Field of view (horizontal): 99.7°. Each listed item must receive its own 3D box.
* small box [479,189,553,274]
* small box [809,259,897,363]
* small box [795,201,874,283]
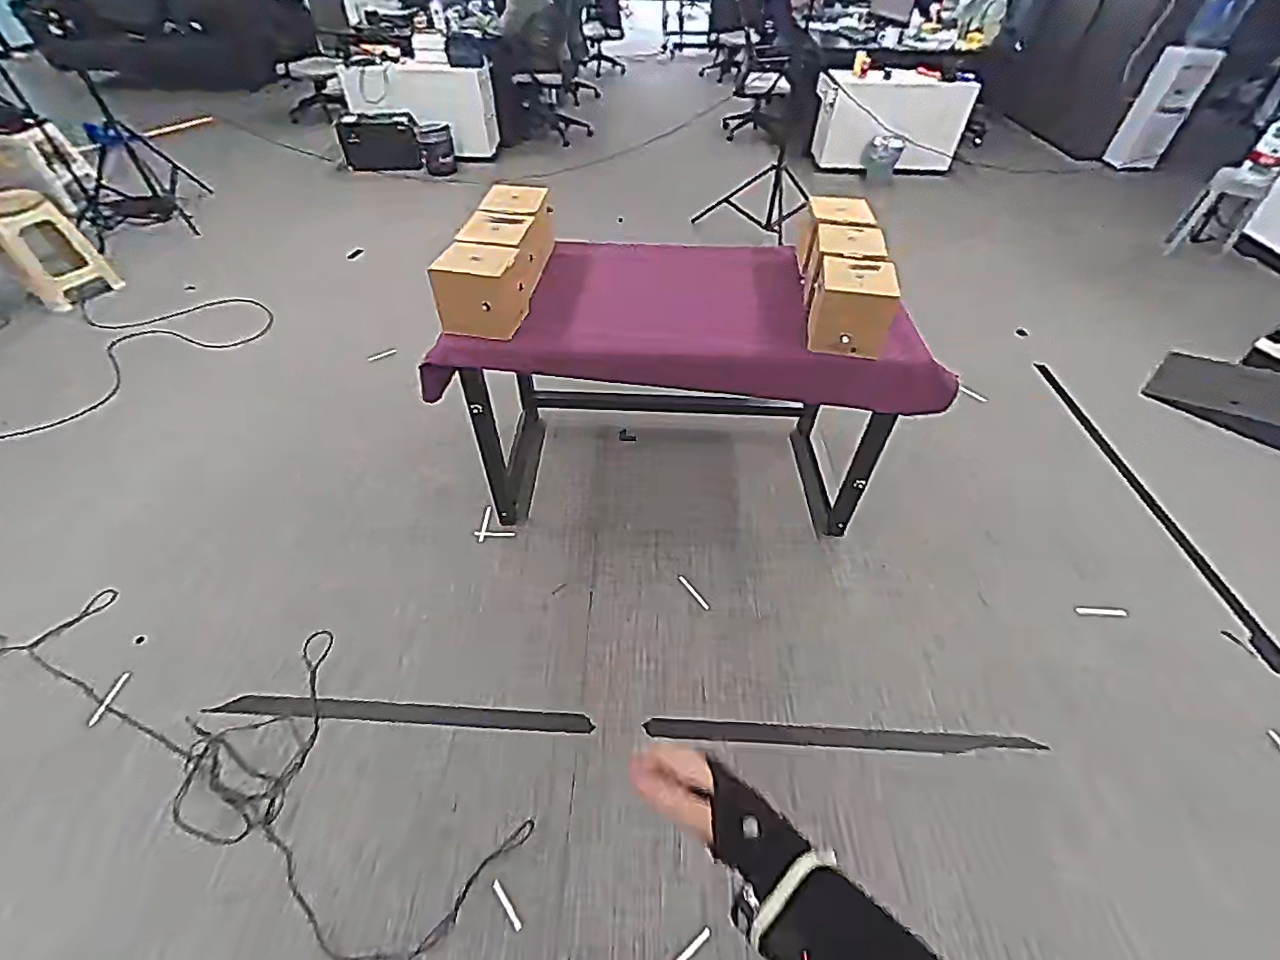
[{"bbox_3d":[-0.356,-0.734,1.596,0.168,0.176,0.179,5,48,3],"label":"small box"},{"bbox_3d":[0.515,-0.414,1.324,0.168,0.176,0.179,9,51,11],"label":"small box"},{"bbox_3d":[0.561,-0.693,1.586,0.168,0.176,0.179,6,47,3],"label":"small box"}]
